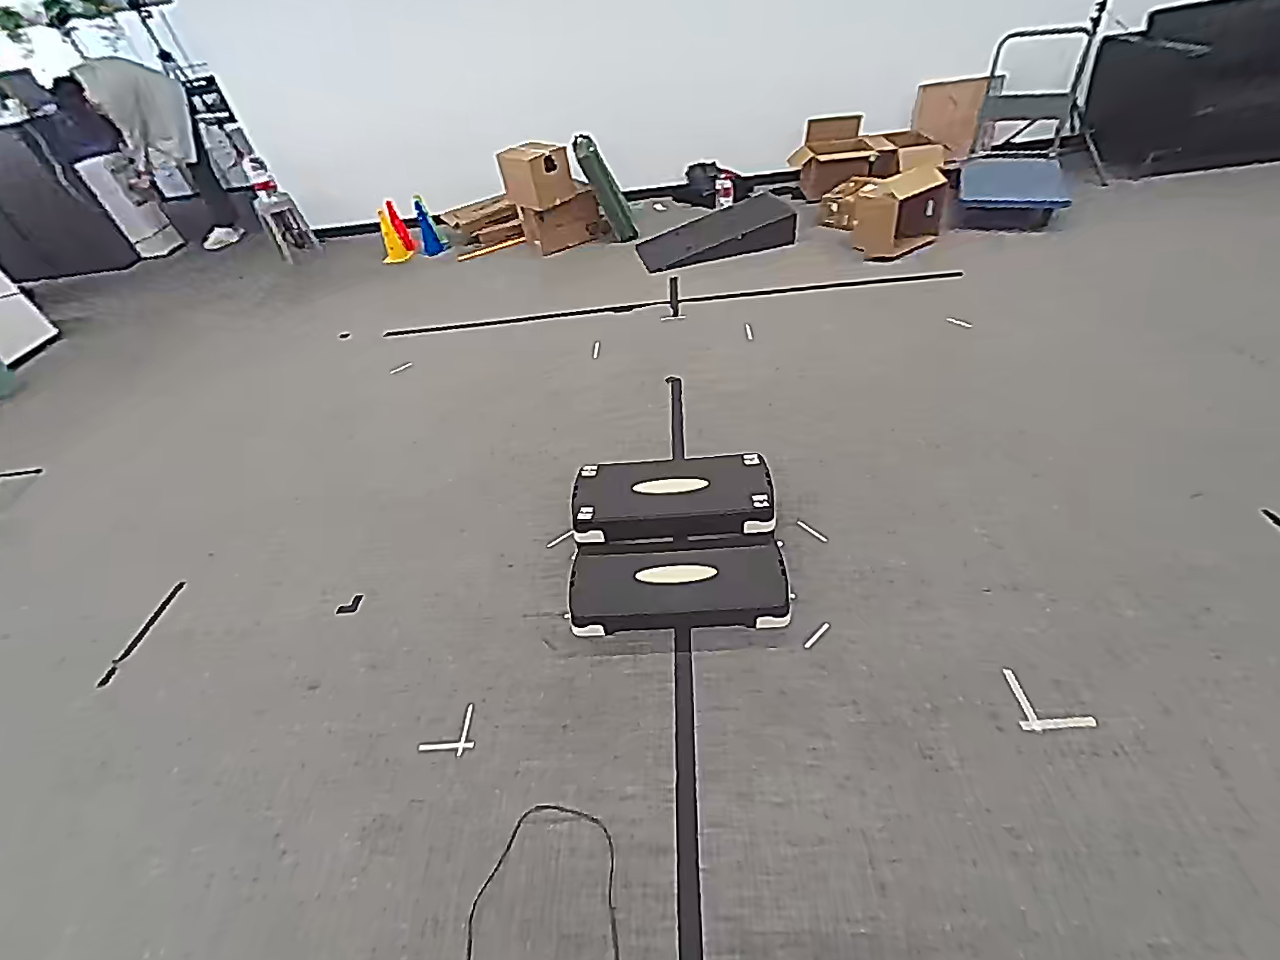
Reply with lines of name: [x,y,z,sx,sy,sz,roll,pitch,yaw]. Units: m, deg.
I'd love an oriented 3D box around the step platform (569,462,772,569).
step platform: [0.100,0.114,1.845,0.684,0.204,0.286,-4,44,4]
